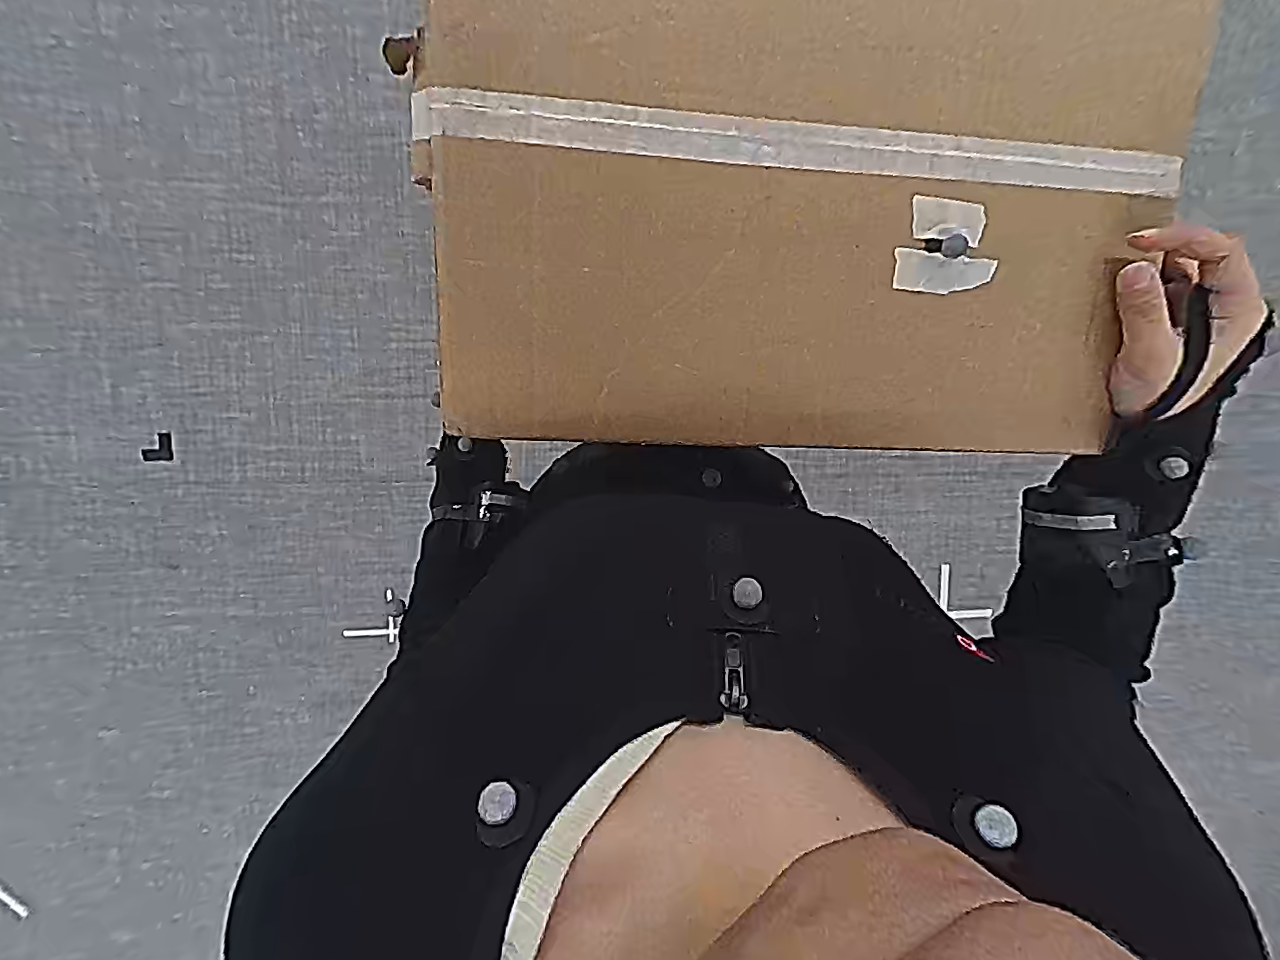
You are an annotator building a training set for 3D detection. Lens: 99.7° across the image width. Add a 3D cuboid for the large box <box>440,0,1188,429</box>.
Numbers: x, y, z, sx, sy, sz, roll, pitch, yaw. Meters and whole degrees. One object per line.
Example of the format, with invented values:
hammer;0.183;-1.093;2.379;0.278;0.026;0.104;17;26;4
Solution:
large box;0.079;-0.215;0.434;0.408;0.320;0.320;0;103;-8
